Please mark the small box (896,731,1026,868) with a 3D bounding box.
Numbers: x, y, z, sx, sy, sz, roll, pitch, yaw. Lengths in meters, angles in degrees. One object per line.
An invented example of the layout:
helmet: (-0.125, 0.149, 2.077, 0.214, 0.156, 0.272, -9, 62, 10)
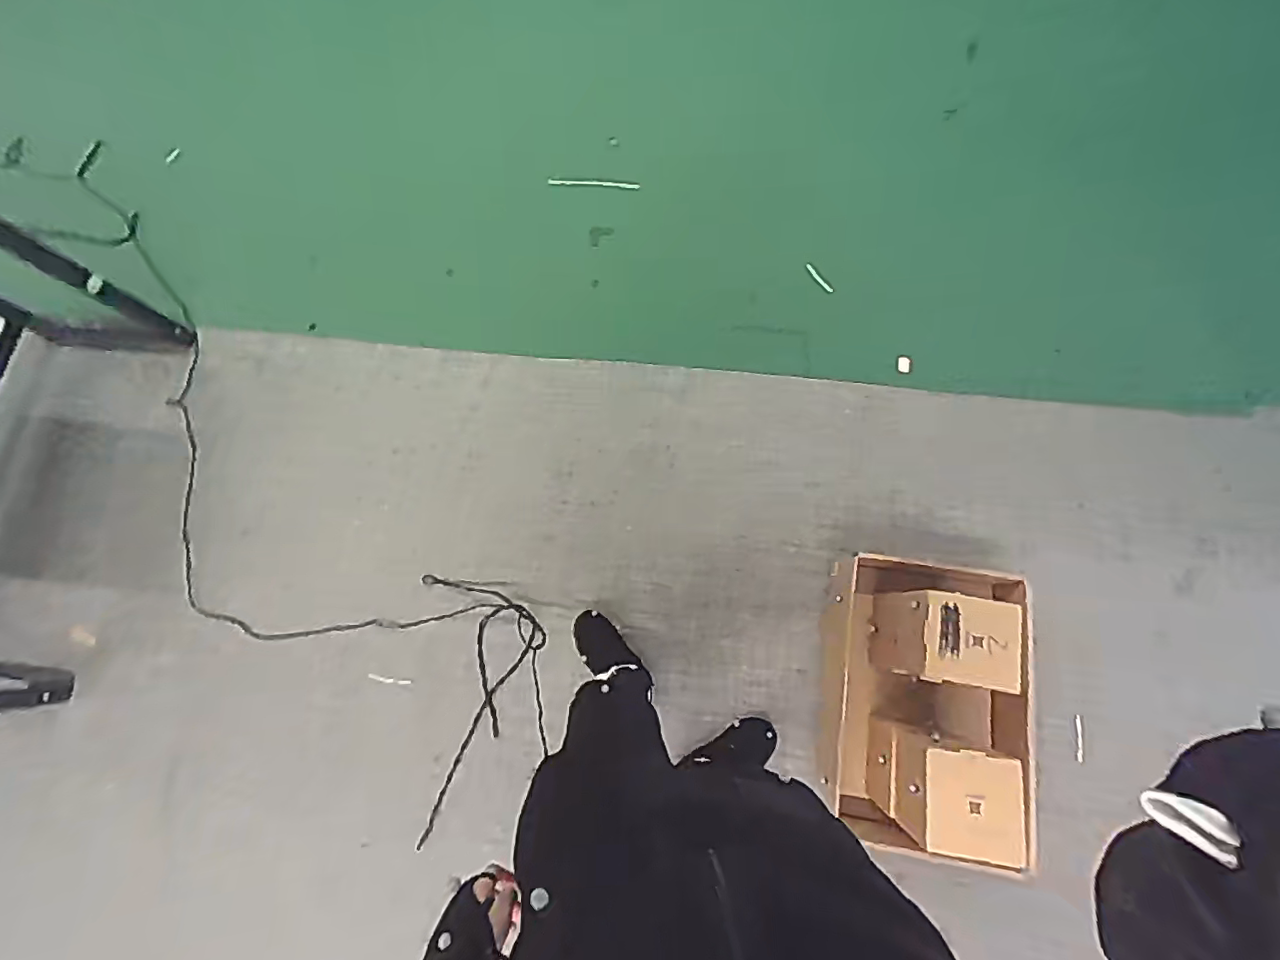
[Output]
small box: (0.606, 0.598, 1.039, 0.168, 0.176, 0.179, 6, 76, 8)
